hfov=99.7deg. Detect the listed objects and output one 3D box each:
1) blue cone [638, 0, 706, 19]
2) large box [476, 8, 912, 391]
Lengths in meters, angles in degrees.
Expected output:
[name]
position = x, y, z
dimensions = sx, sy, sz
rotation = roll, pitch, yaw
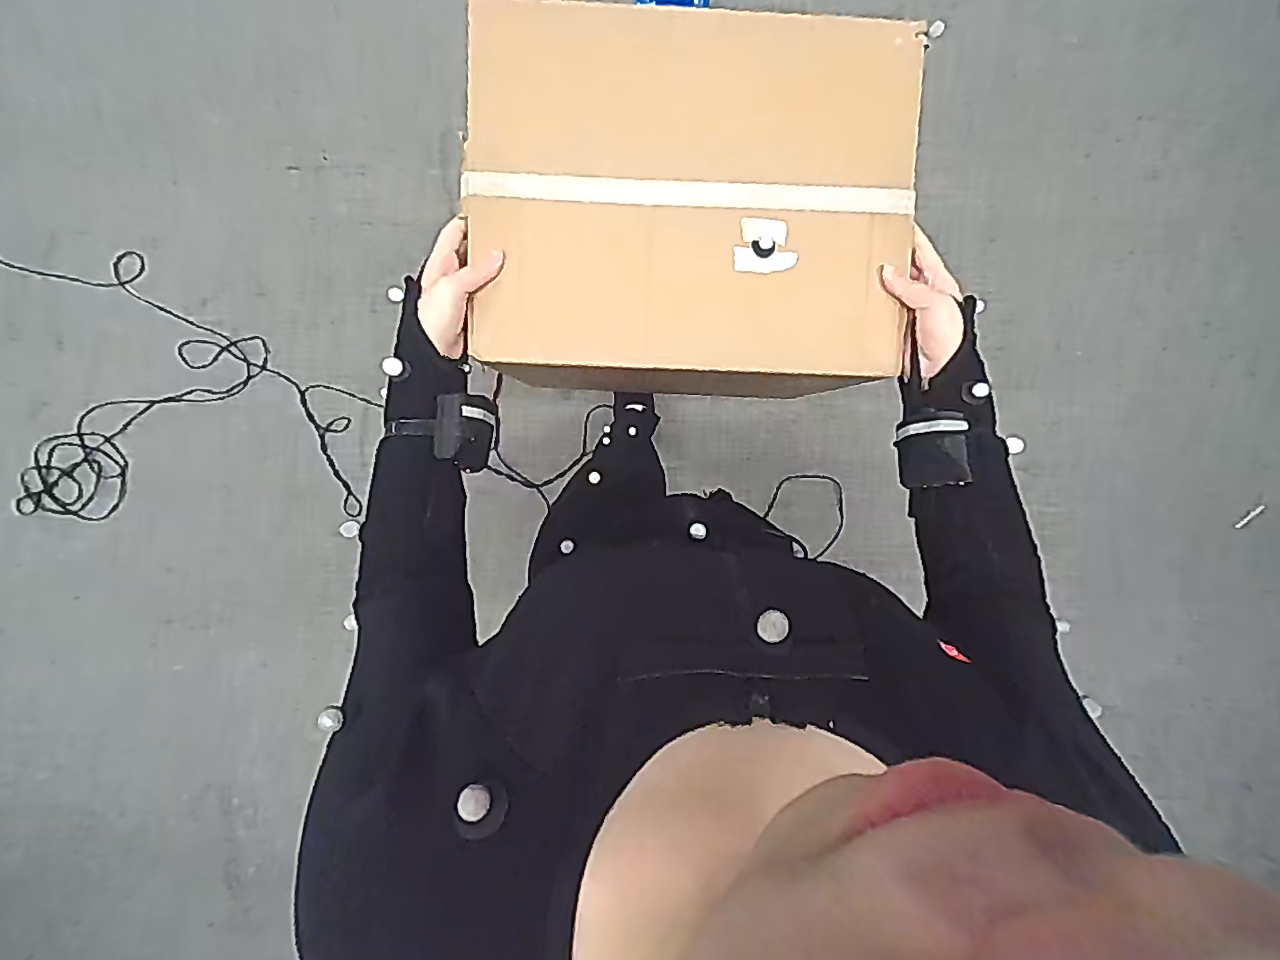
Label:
[blue cone]
position = 0.093, -1.358, 1.312
dimensions = 0.193, 0.380, 0.192
rotation = 8, 90, 0
[large box]
position = 0.042, -0.276, 0.647
dimensions = 0.408, 0.320, 0.320
rotation = 1, 95, -3
